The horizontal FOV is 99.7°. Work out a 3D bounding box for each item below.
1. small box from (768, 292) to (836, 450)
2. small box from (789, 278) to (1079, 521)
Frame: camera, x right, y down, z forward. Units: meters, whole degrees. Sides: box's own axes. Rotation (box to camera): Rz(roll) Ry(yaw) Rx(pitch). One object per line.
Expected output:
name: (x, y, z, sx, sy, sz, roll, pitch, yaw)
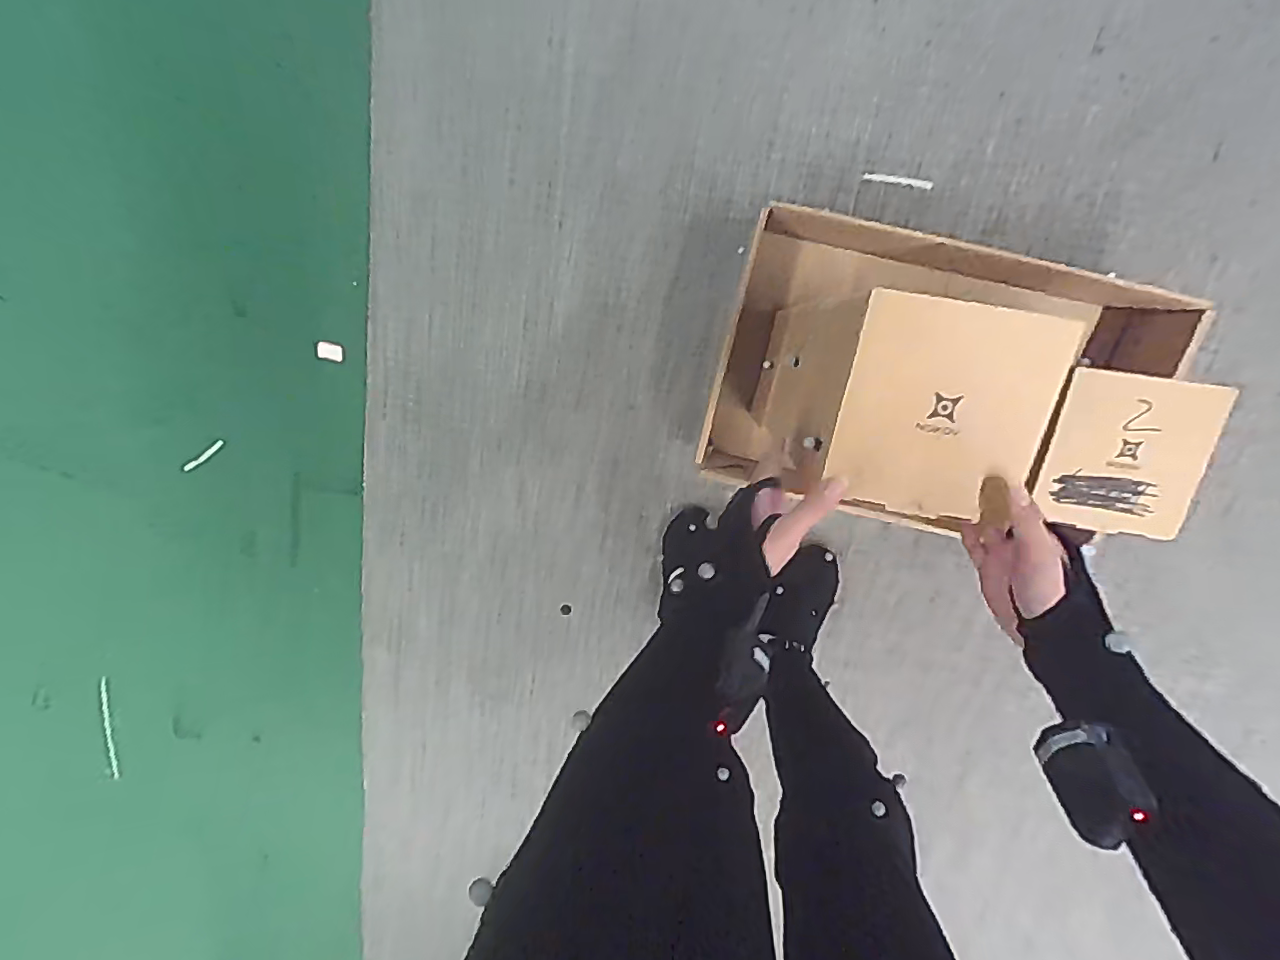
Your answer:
small box: (0.265, -0.122, 0.672, 0.168, 0.176, 0.179, 11, 105, 3)
small box: (0.250, -0.081, 0.515, 0.168, 0.176, 0.179, 10, 106, 3)
